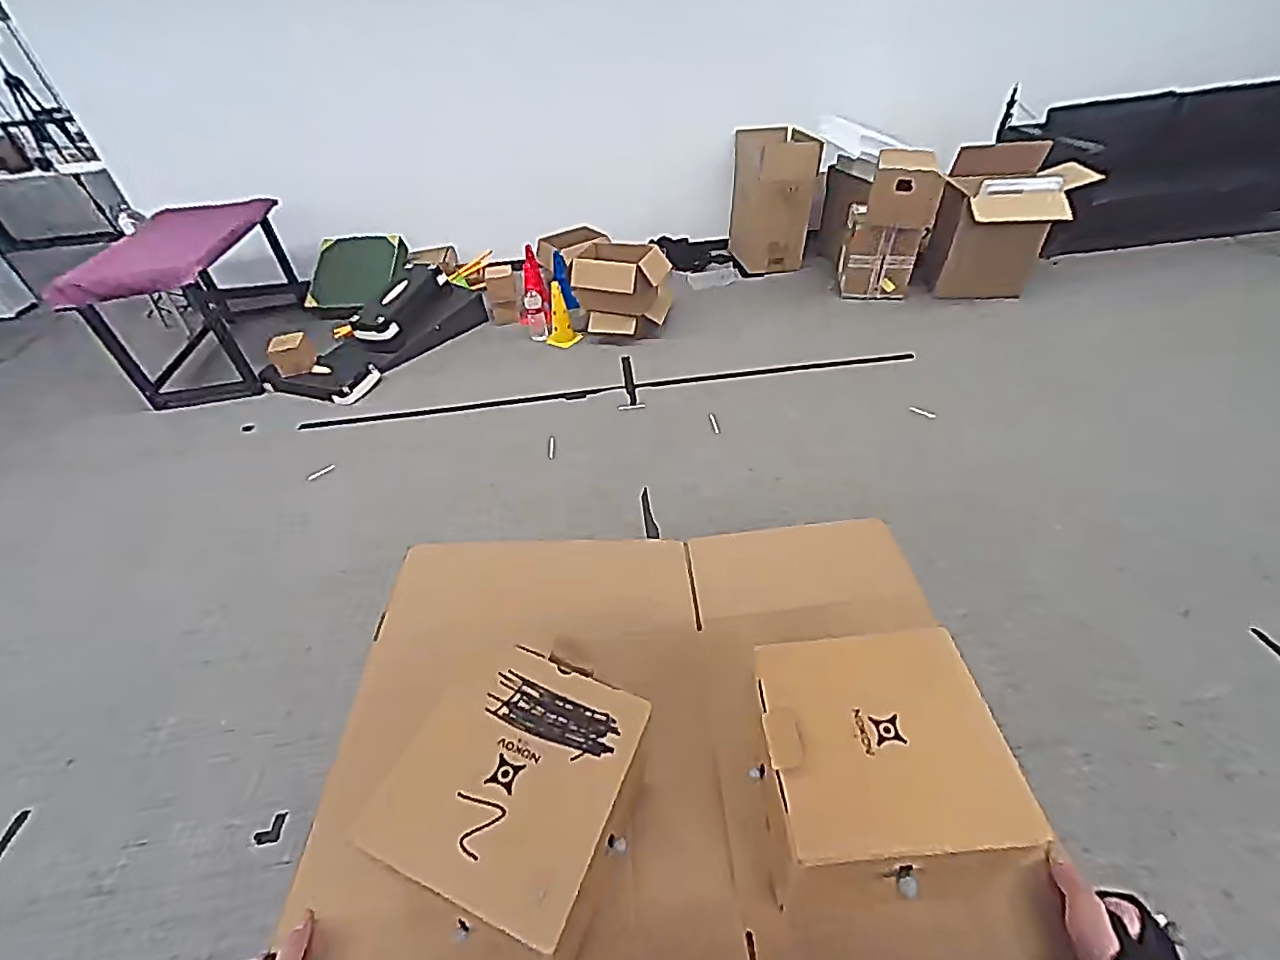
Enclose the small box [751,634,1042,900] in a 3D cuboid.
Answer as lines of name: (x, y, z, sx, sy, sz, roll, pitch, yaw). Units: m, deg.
small box: (0.204, 0.263, 0.493, 0.179, 0.176, 0.168, -7, 42, 3)
